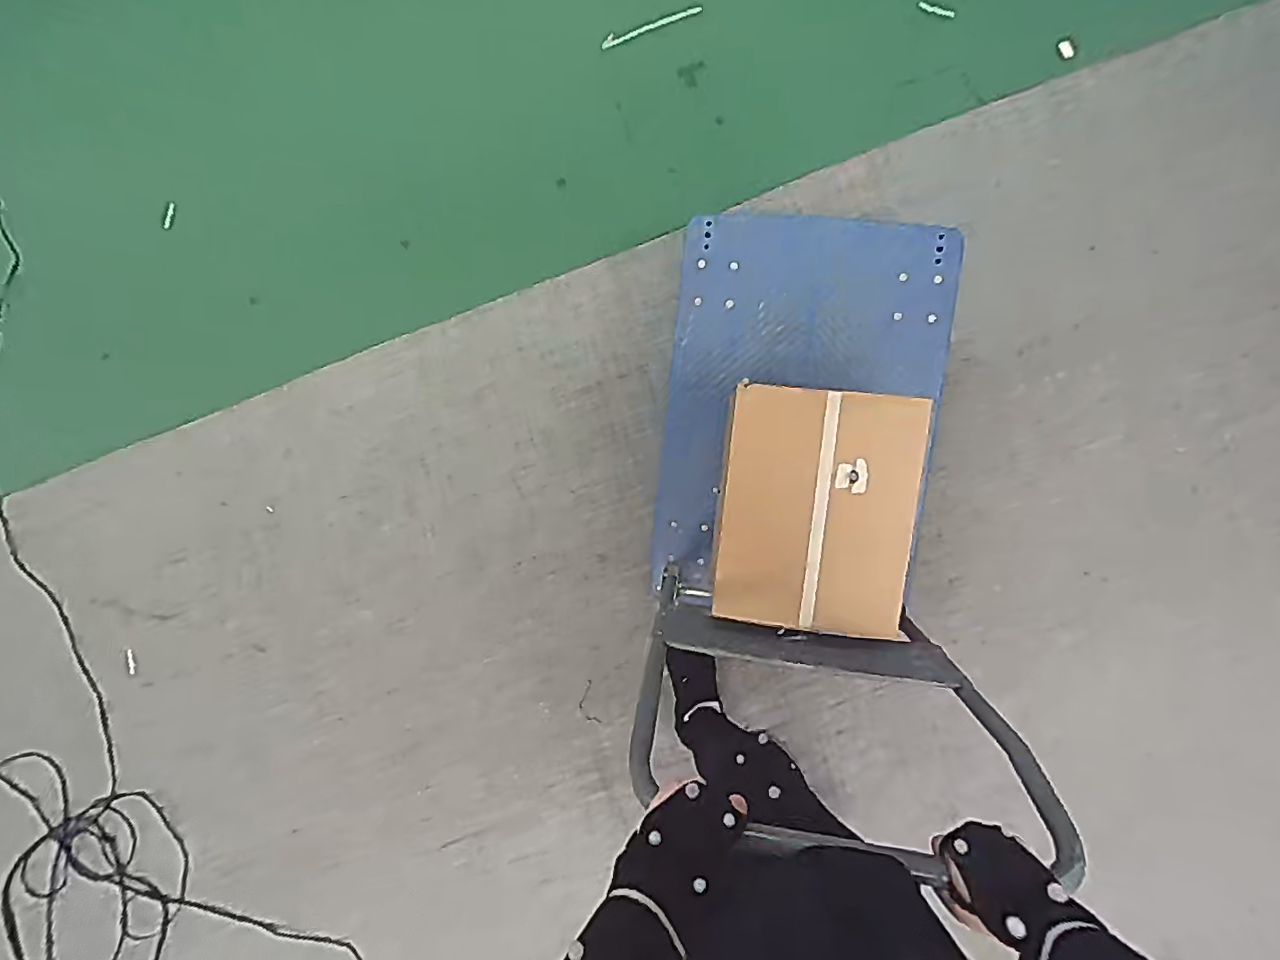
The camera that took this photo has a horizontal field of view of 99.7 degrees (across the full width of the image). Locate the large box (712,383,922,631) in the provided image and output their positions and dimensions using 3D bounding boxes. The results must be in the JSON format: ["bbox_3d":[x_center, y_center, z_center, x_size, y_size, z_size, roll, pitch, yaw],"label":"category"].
[{"bbox_3d":[0.312,0.037,1.055,0.320,0.320,0.408,6,95,6],"label":"large box"}]
